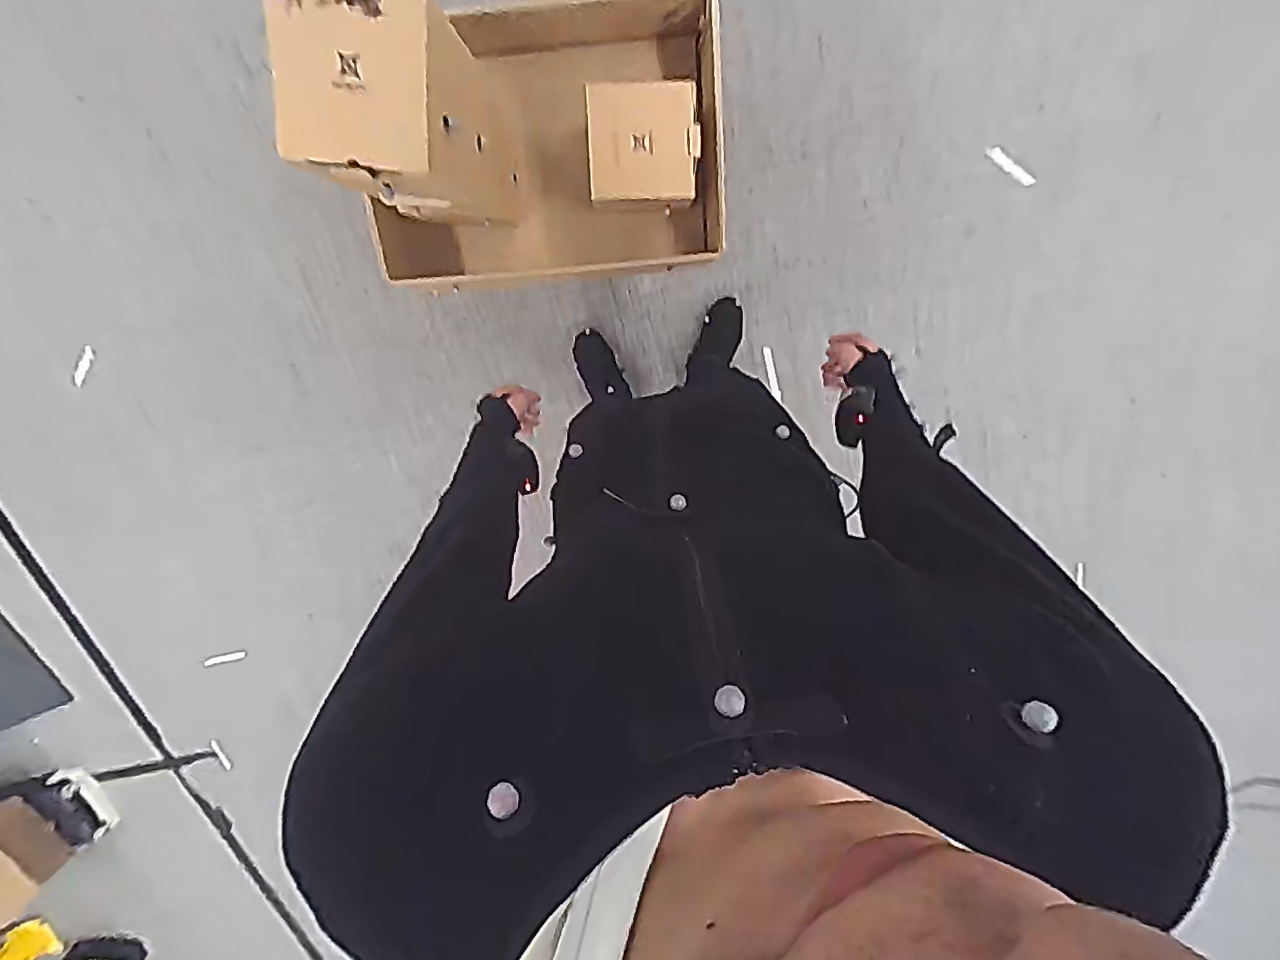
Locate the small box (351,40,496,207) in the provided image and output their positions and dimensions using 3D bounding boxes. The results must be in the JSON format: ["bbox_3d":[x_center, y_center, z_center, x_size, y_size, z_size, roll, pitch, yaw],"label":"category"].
[{"bbox_3d":[-0.313,-0.510,0.794,0.168,0.176,0.179,2,108,-1],"label":"small box"}]

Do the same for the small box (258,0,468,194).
[{"bbox_3d":[-0.309,-0.452,0.640,0.168,0.176,0.179,6,109,-3],"label":"small box"}]
